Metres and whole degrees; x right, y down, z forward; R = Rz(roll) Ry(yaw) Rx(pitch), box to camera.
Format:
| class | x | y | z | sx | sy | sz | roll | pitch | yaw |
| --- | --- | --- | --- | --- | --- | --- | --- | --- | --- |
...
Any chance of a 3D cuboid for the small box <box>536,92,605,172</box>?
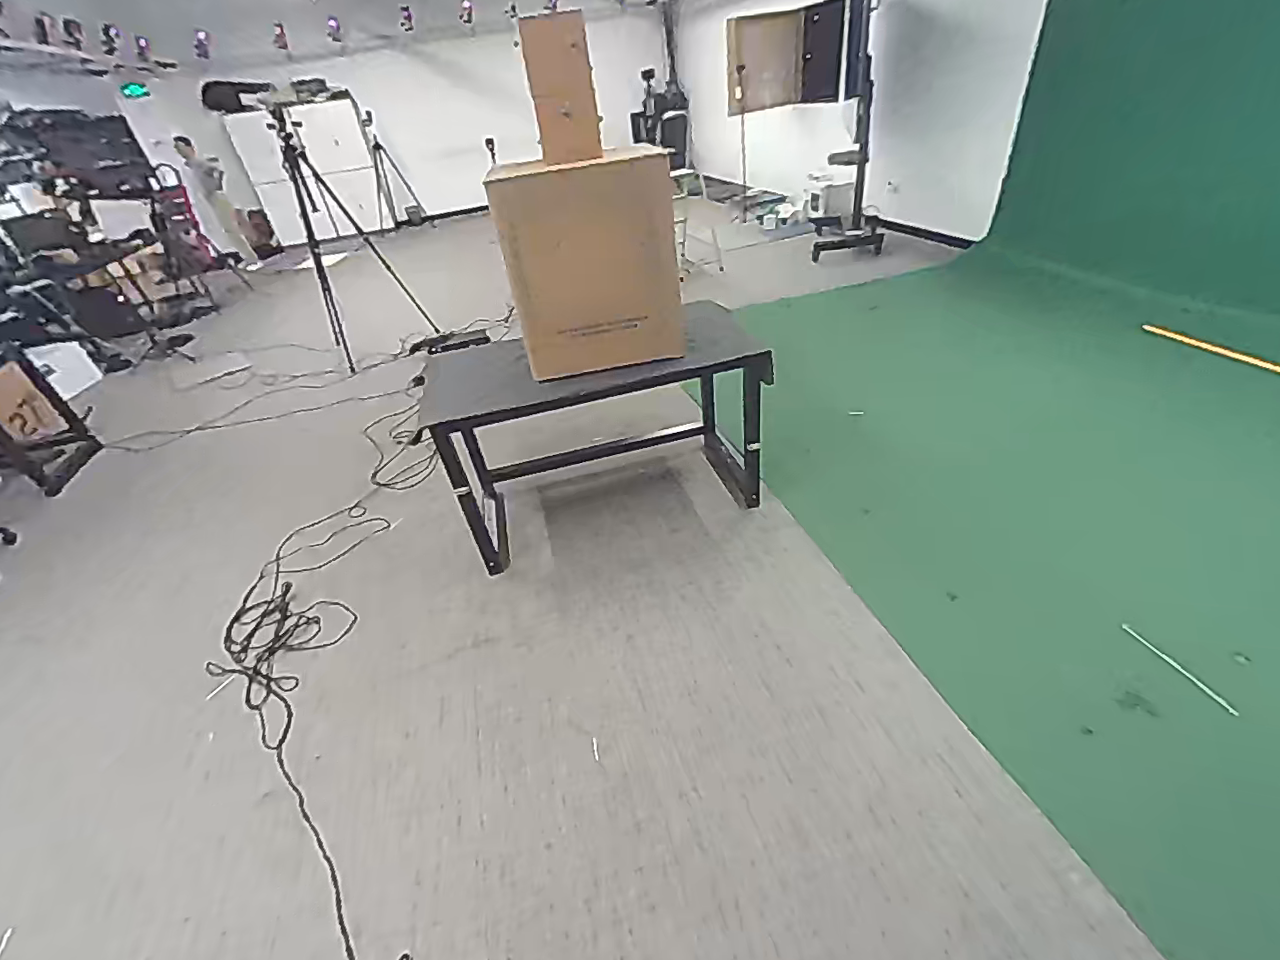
| class | x | y | z | sx | sy | sz | roll | pitch | yaw |
| --- | --- | --- | --- | --- | --- | --- | --- | --- | --- |
| small box | -0.198 | -1.017 | 1.579 | 0.179 | 0.176 | 0.168 | -10 | 38 | -2 |
